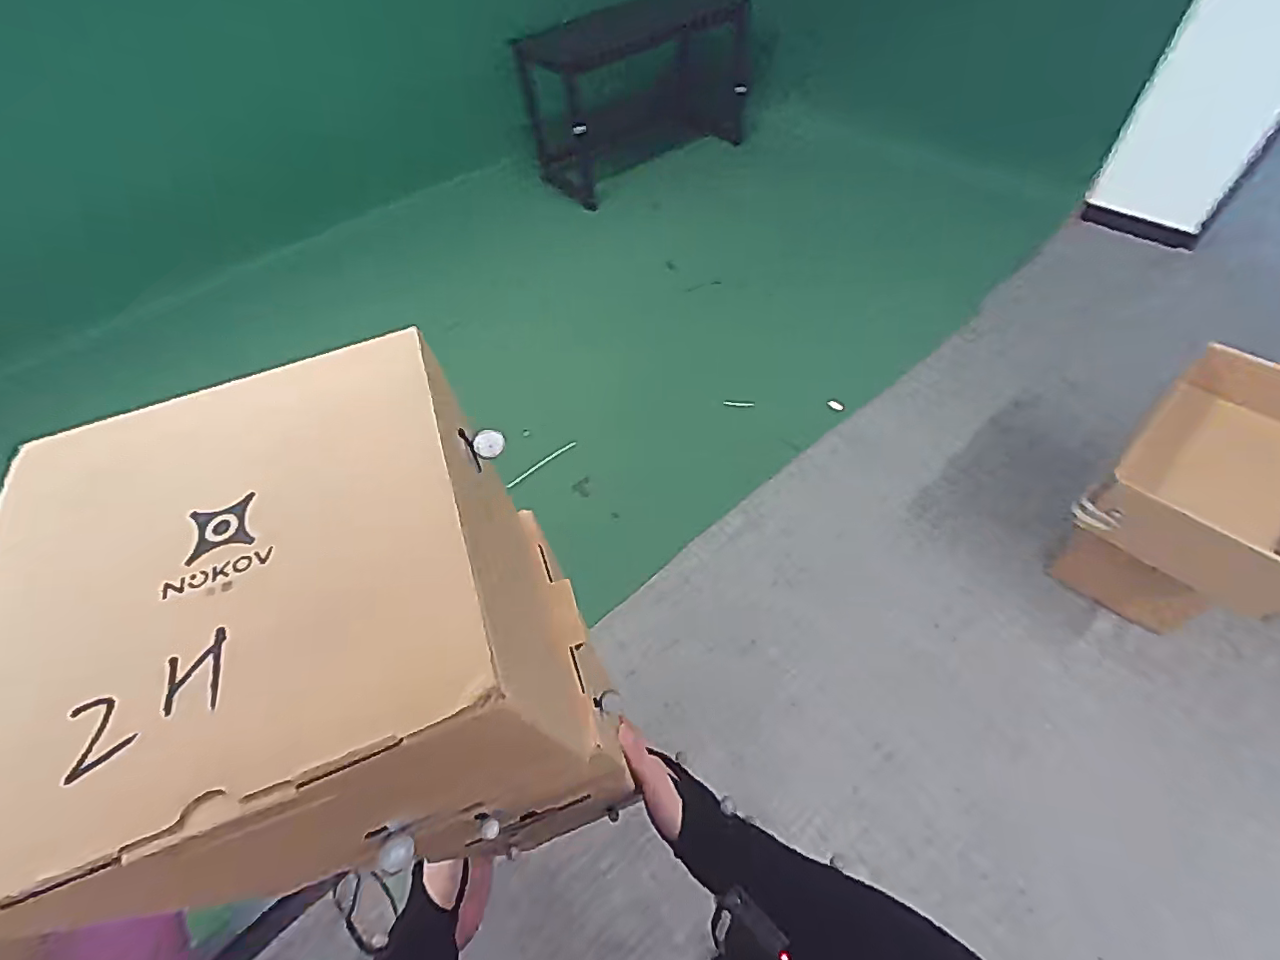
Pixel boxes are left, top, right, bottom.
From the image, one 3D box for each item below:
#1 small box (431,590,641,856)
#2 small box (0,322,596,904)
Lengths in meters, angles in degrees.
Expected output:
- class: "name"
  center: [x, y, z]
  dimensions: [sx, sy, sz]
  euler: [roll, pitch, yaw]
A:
- class: "small box"
  center: [-0.102, 0.239, 0.533]
  dimensions: [0.168, 0.176, 0.179]
  euler: [-17, 57, -8]
- class: "small box"
  center: [-0.130, 0.063, 0.256]
  dimensions: [0.168, 0.176, 0.179]
  euler: [-19, 58, -8]
